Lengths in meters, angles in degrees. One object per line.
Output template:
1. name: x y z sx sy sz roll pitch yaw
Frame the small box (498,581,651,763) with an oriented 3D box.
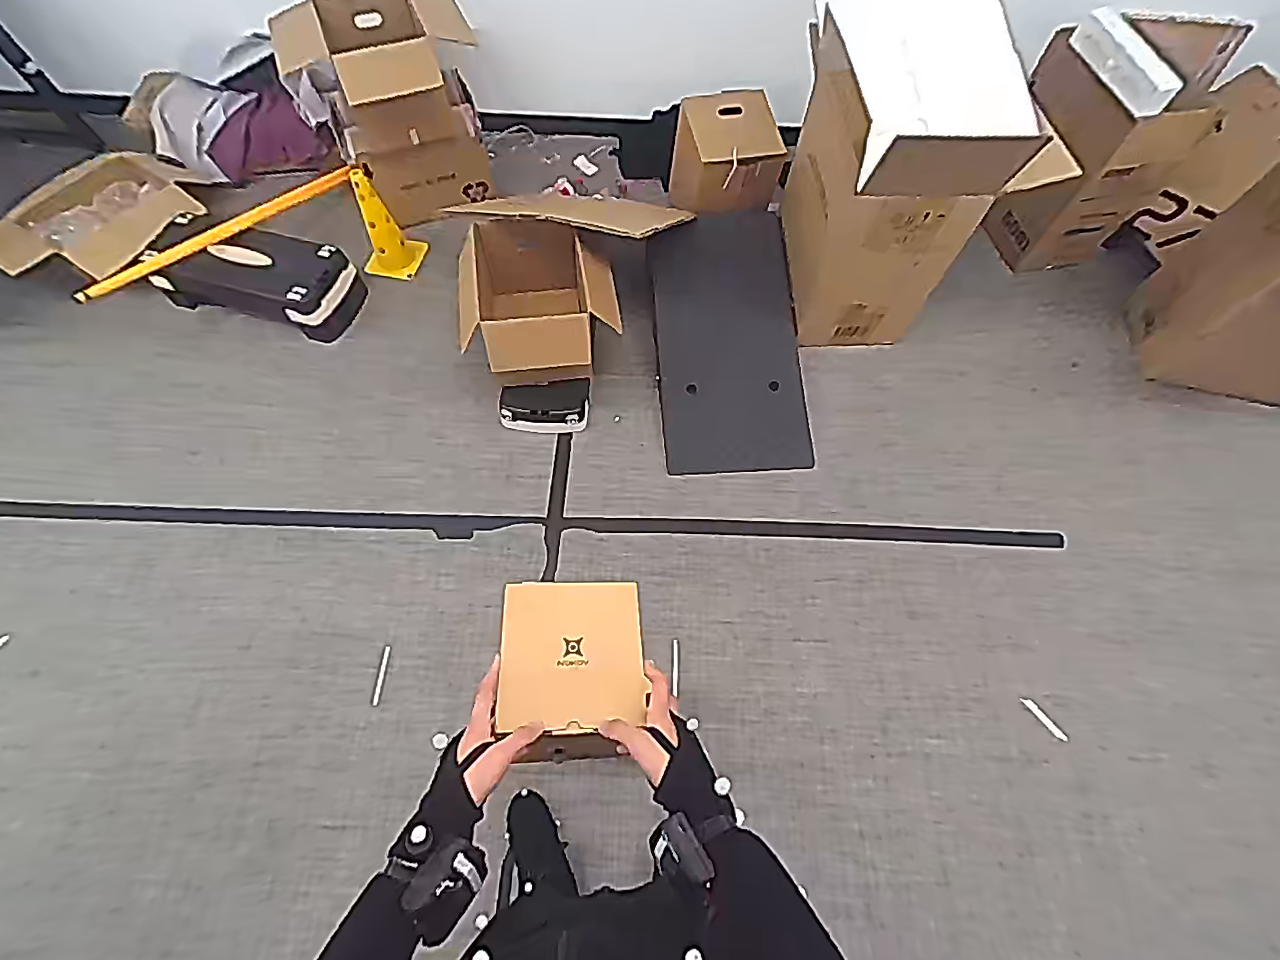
1. small box: -0.086 0.243 0.684 0.168 0.176 0.179 1 54 -9

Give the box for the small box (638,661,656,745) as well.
1. small box: -0.057 0.503 1.222 0.179 0.176 0.168 3 64 -2
